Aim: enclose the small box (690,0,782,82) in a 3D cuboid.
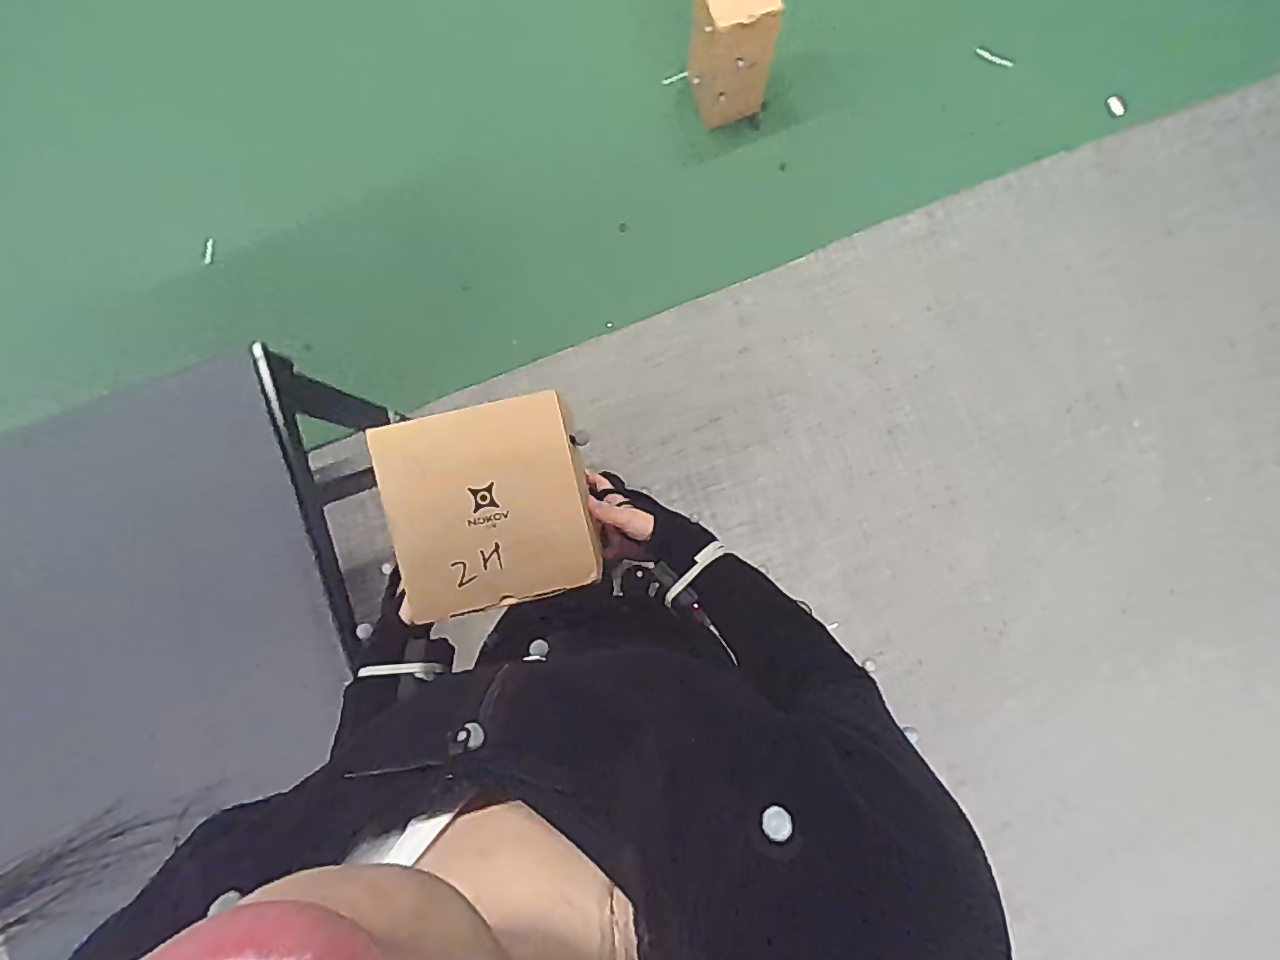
[{"bbox_3d":[0.231,-1.156,1.351,0.168,0.176,0.179,-20,85,0],"label":"small box"}]
